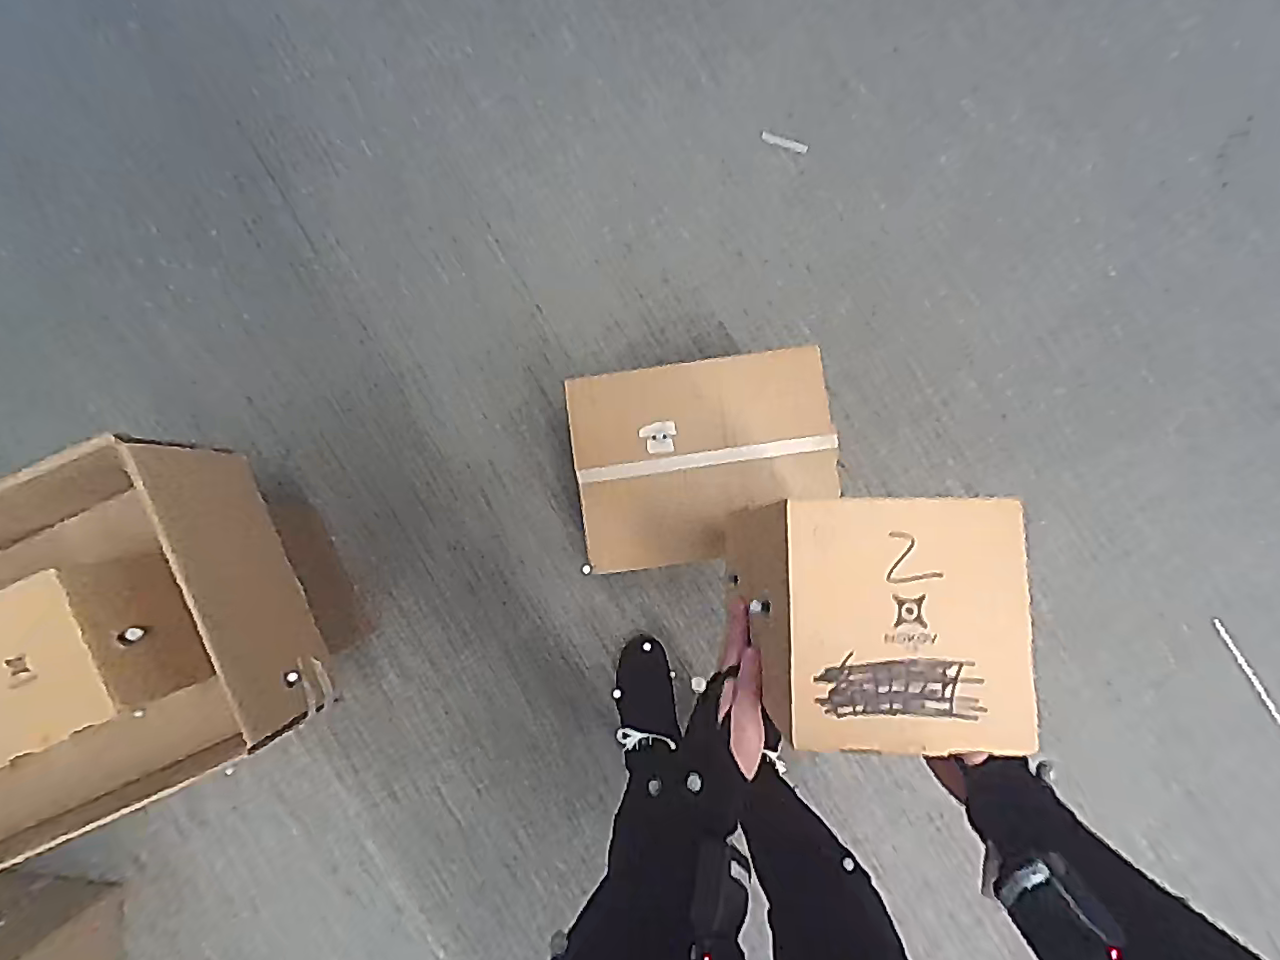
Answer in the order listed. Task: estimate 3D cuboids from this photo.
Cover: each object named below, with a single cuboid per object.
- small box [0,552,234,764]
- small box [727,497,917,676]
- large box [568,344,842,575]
[{"bbox_3d":[-0.650,0.196,0.651,0.168,0.176,0.179,-23,91,1],"label":"small box"},{"bbox_3d":[0.194,0.111,0.617,0.168,0.176,0.179,1,85,1],"label":"small box"},{"bbox_3d":[0.109,-0.032,0.987,0.408,0.320,0.320,-8,89,2],"label":"large box"}]
